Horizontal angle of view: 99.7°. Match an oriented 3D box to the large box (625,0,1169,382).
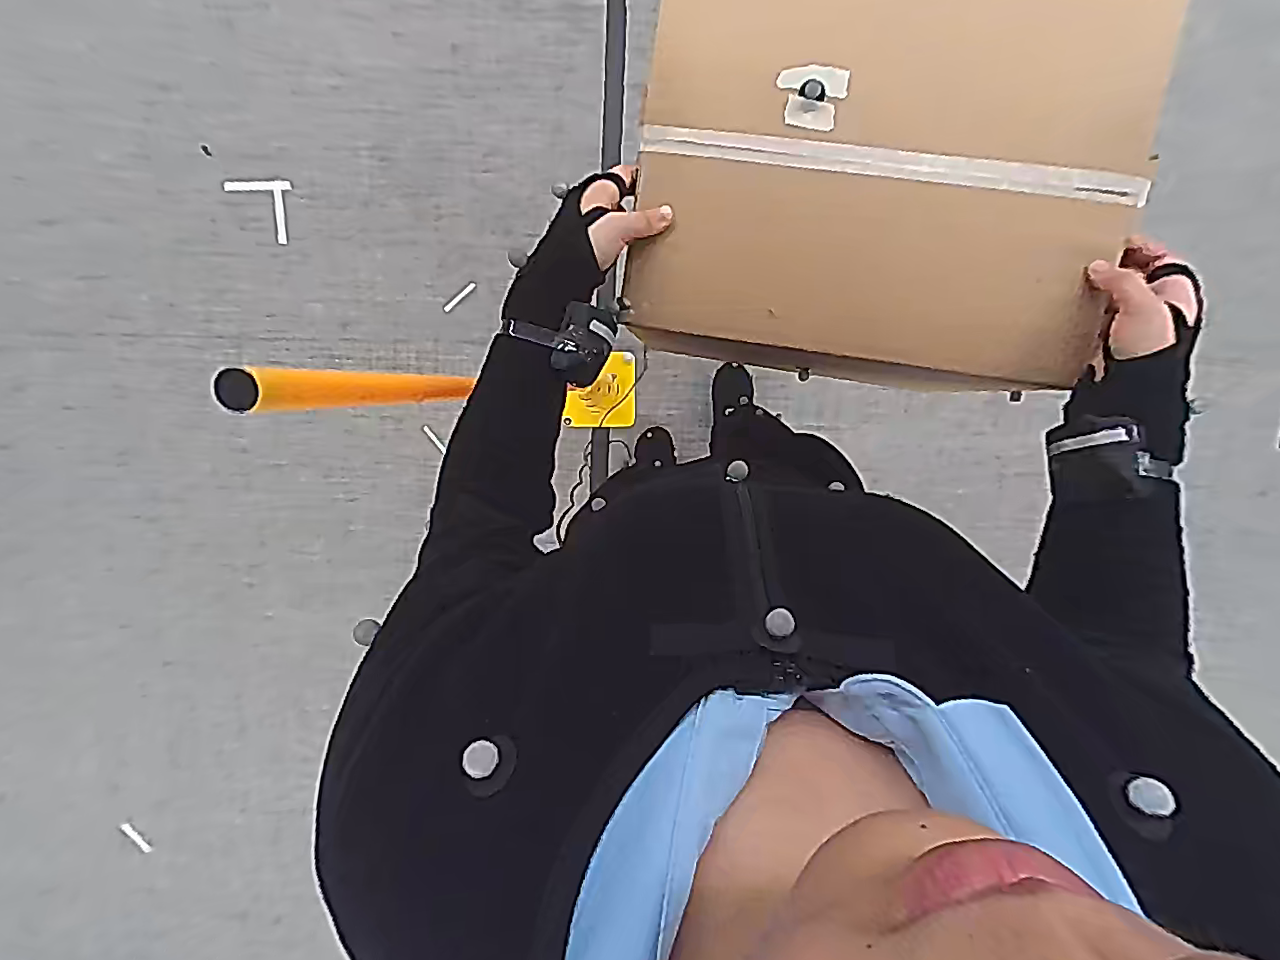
[{"bbox_3d":[0.220,-0.289,0.609,0.408,0.320,0.320,9,98,6],"label":"large box"}]
